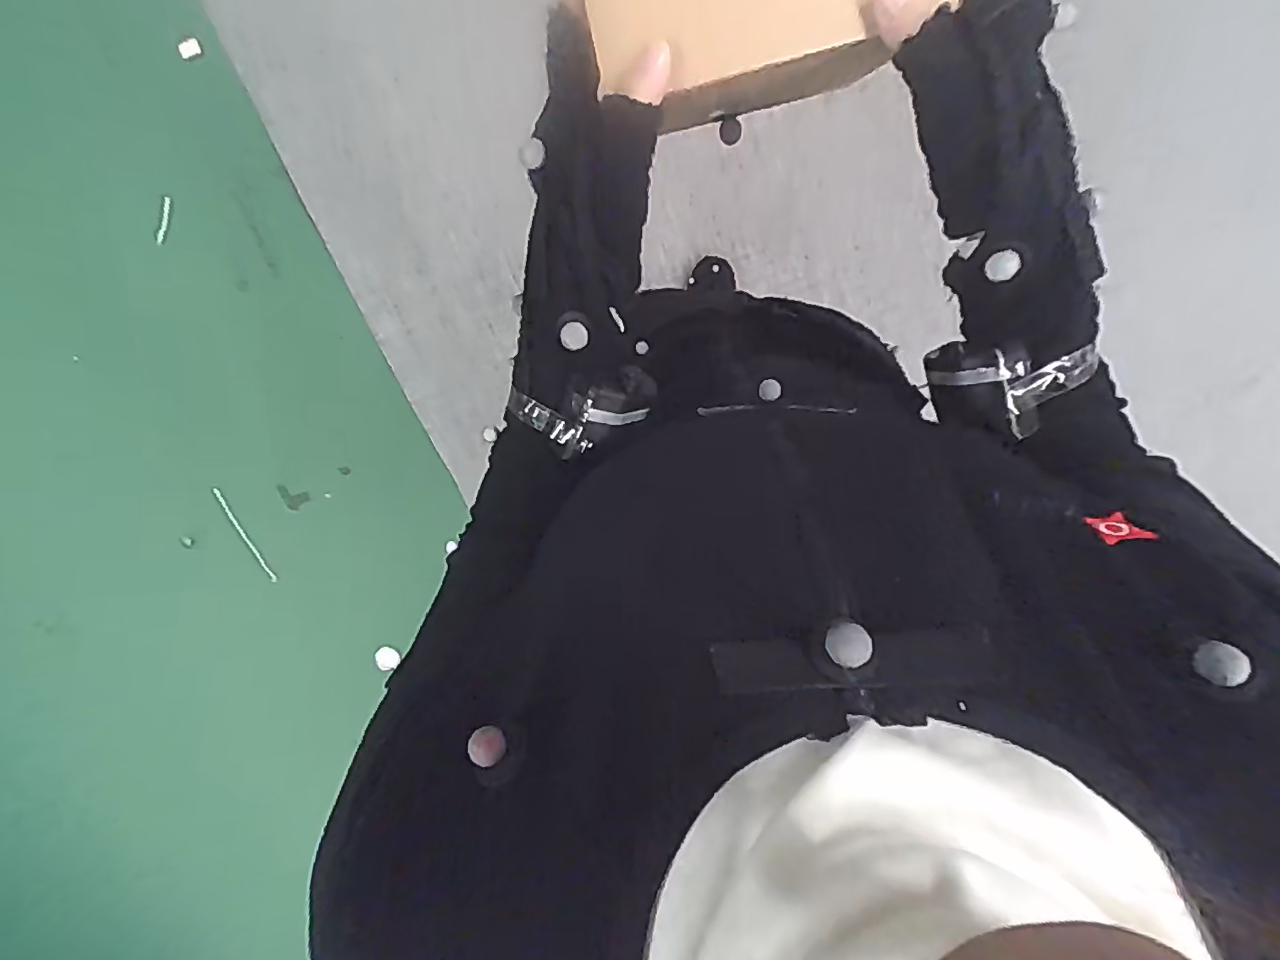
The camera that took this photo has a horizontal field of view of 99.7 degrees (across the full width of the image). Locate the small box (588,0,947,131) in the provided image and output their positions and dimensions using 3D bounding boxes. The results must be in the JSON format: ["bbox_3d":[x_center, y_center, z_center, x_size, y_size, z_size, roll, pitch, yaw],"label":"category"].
[{"bbox_3d":[0.048,-0.316,0.290,0.168,0.176,0.179,-10,116,8],"label":"small box"}]
